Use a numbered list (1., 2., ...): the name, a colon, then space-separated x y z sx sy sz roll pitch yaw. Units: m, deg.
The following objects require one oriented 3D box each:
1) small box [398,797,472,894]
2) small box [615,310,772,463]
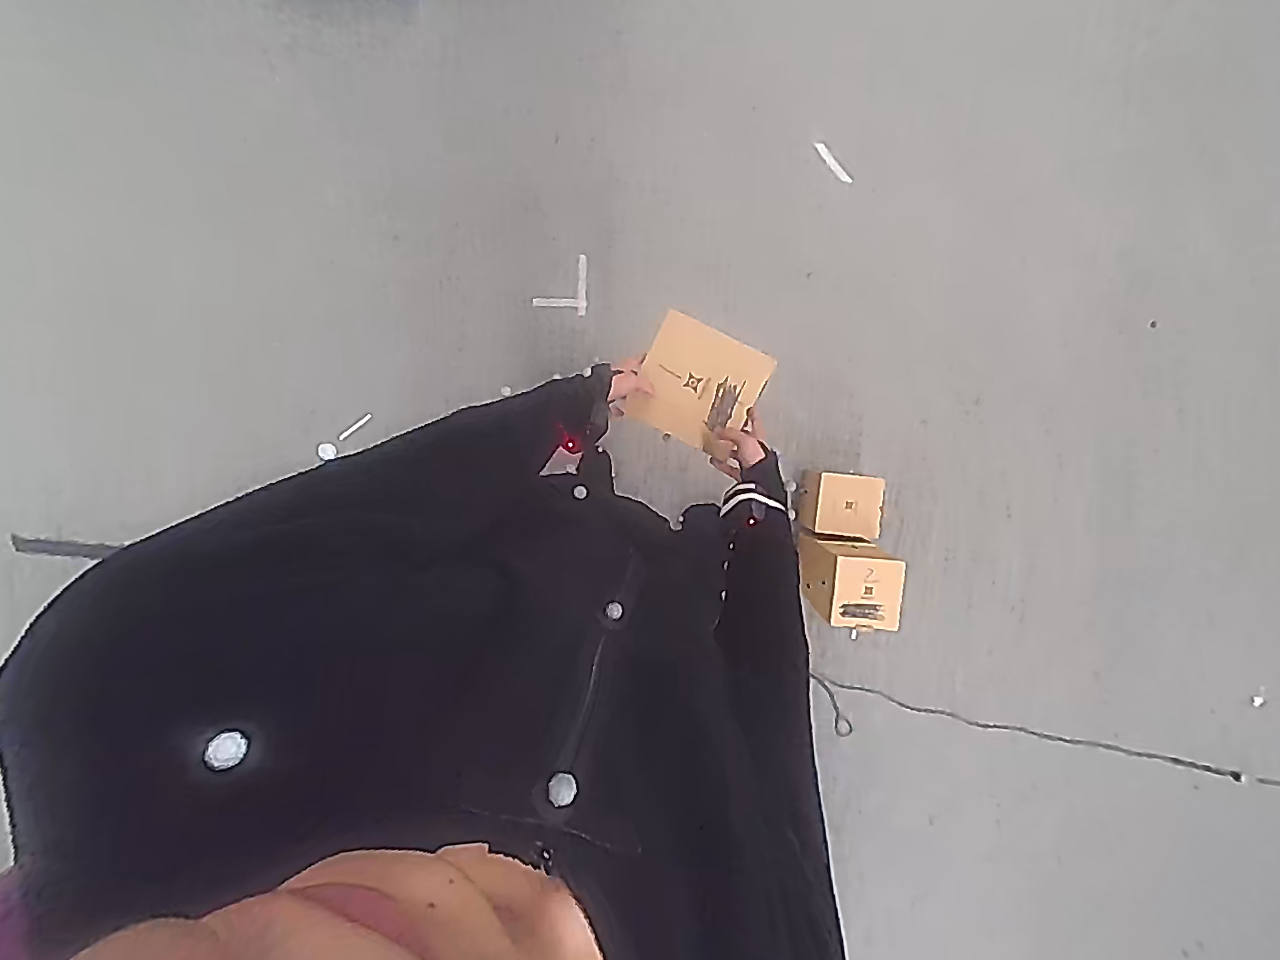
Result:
1. small box: -0.618 1.108 1.645 0.168 0.176 0.179 2 96 0
2. small box: 0.083 -0.145 0.853 0.179 0.176 0.168 26 99 2
